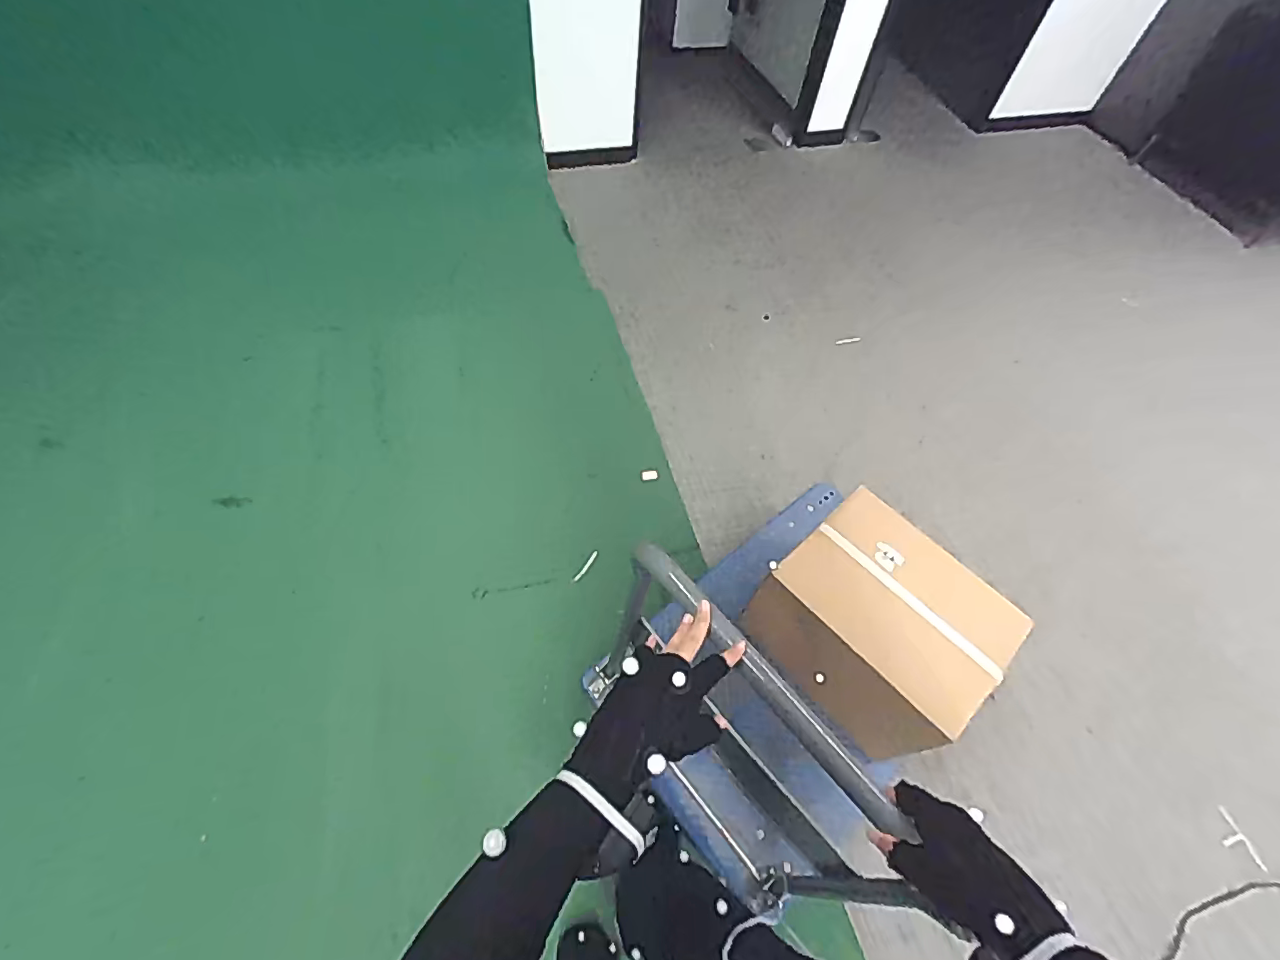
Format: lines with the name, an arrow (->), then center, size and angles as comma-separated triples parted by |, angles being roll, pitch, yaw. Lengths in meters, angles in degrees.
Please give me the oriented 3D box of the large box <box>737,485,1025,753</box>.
large box -> 0.478, 0.297, 1.154 | 0.320, 0.320, 0.408 | -36, 65, -24
